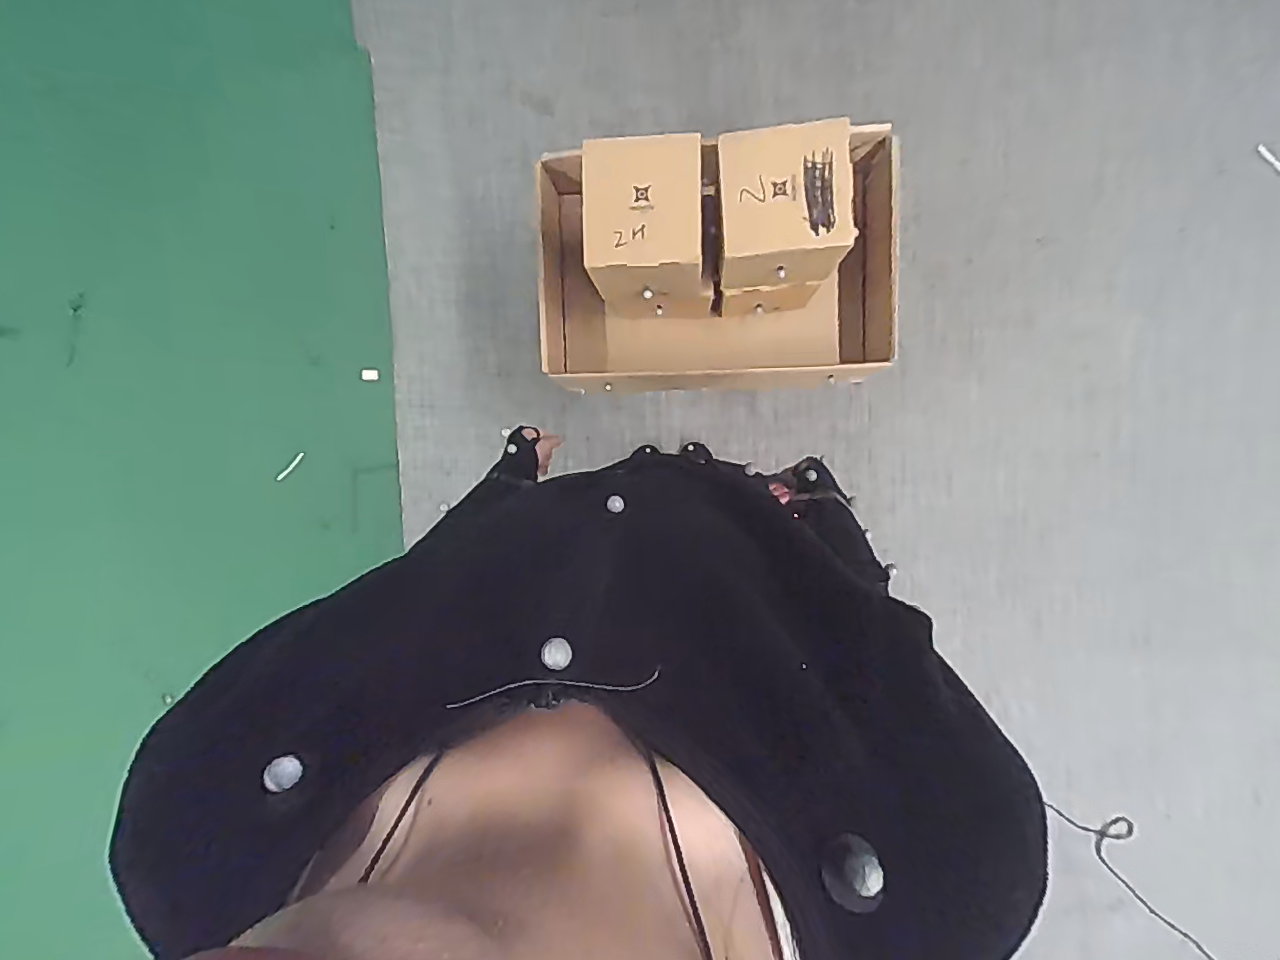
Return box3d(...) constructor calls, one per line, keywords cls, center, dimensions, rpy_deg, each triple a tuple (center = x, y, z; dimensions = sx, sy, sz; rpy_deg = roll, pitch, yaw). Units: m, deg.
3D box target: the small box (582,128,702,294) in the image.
box3d(cls="small box", center=(0.008, -0.394, 0.818), dimensions=(0.168, 0.176, 0.179), rpy_deg=(0, 94, 5))
